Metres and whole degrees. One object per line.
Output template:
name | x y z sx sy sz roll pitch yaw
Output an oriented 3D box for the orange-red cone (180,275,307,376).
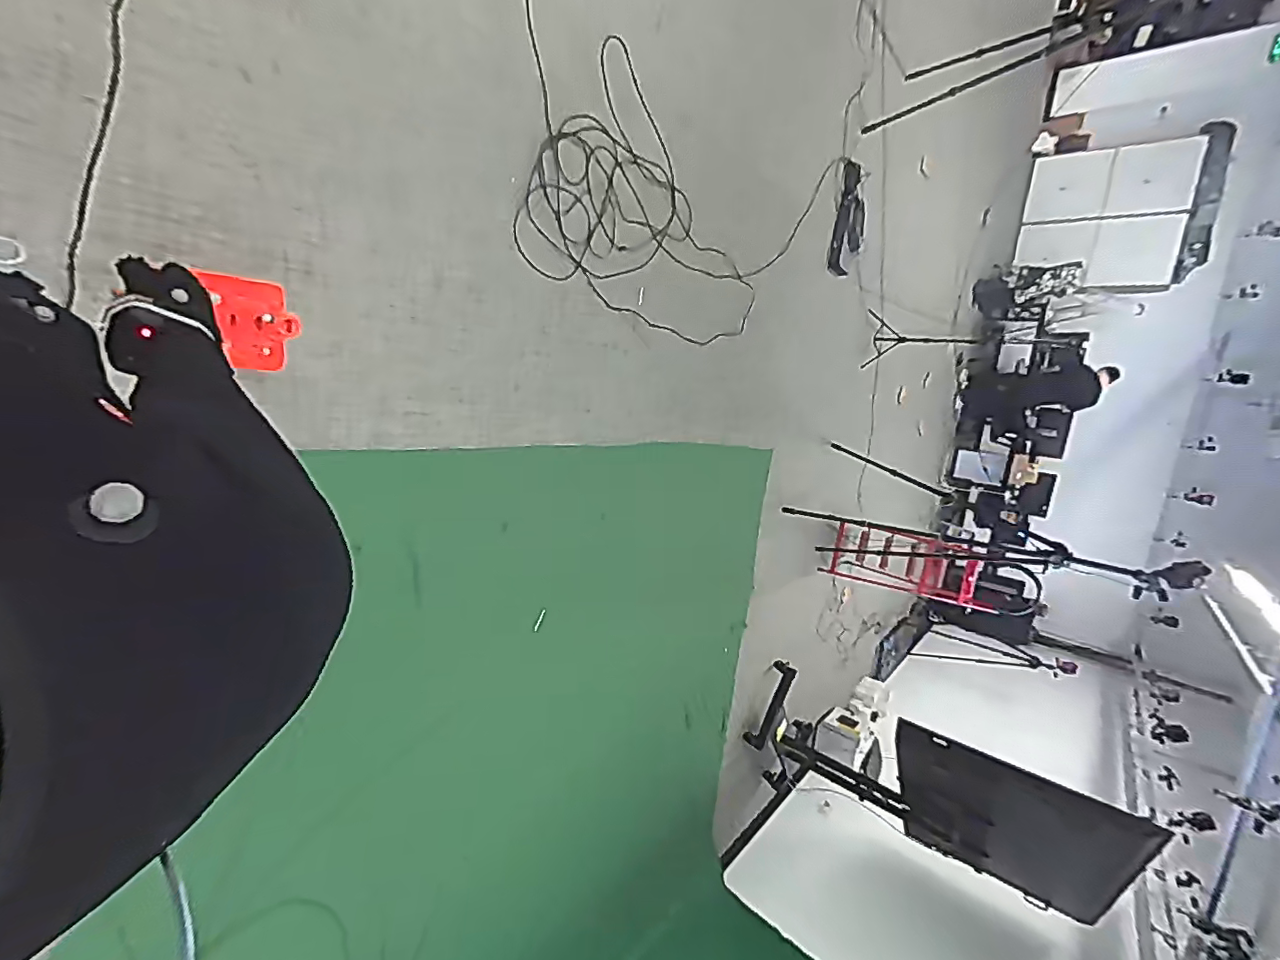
orange-red cone | -0.769 -0.309 1.101 0.198 0.360 0.199 -5 104 -50
